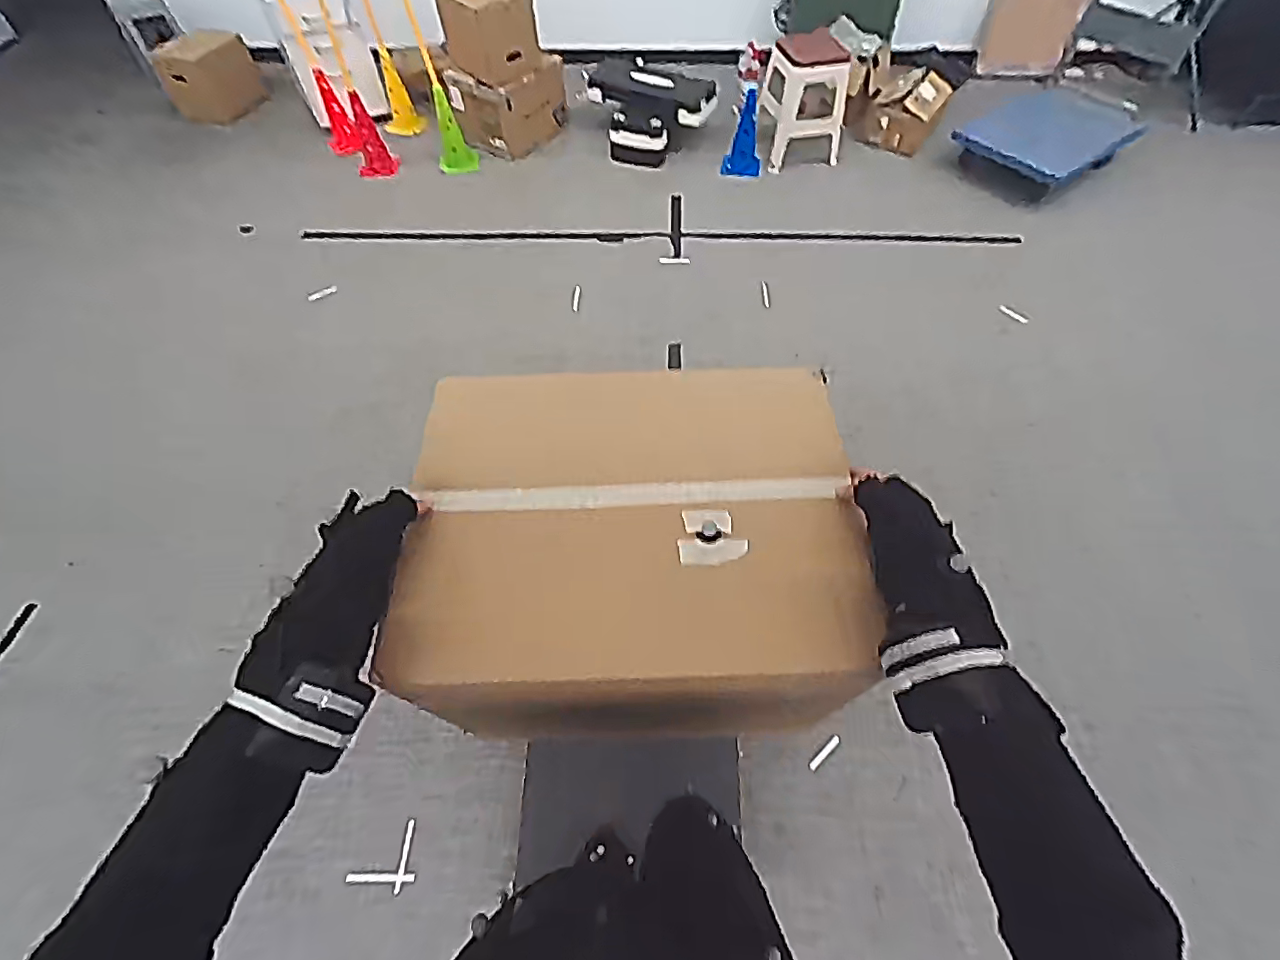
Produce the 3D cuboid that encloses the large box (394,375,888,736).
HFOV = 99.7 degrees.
[{"bbox_3d":[-0.002,0.101,0.632,0.408,0.320,0.320,-2,57,0],"label":"large box"}]
